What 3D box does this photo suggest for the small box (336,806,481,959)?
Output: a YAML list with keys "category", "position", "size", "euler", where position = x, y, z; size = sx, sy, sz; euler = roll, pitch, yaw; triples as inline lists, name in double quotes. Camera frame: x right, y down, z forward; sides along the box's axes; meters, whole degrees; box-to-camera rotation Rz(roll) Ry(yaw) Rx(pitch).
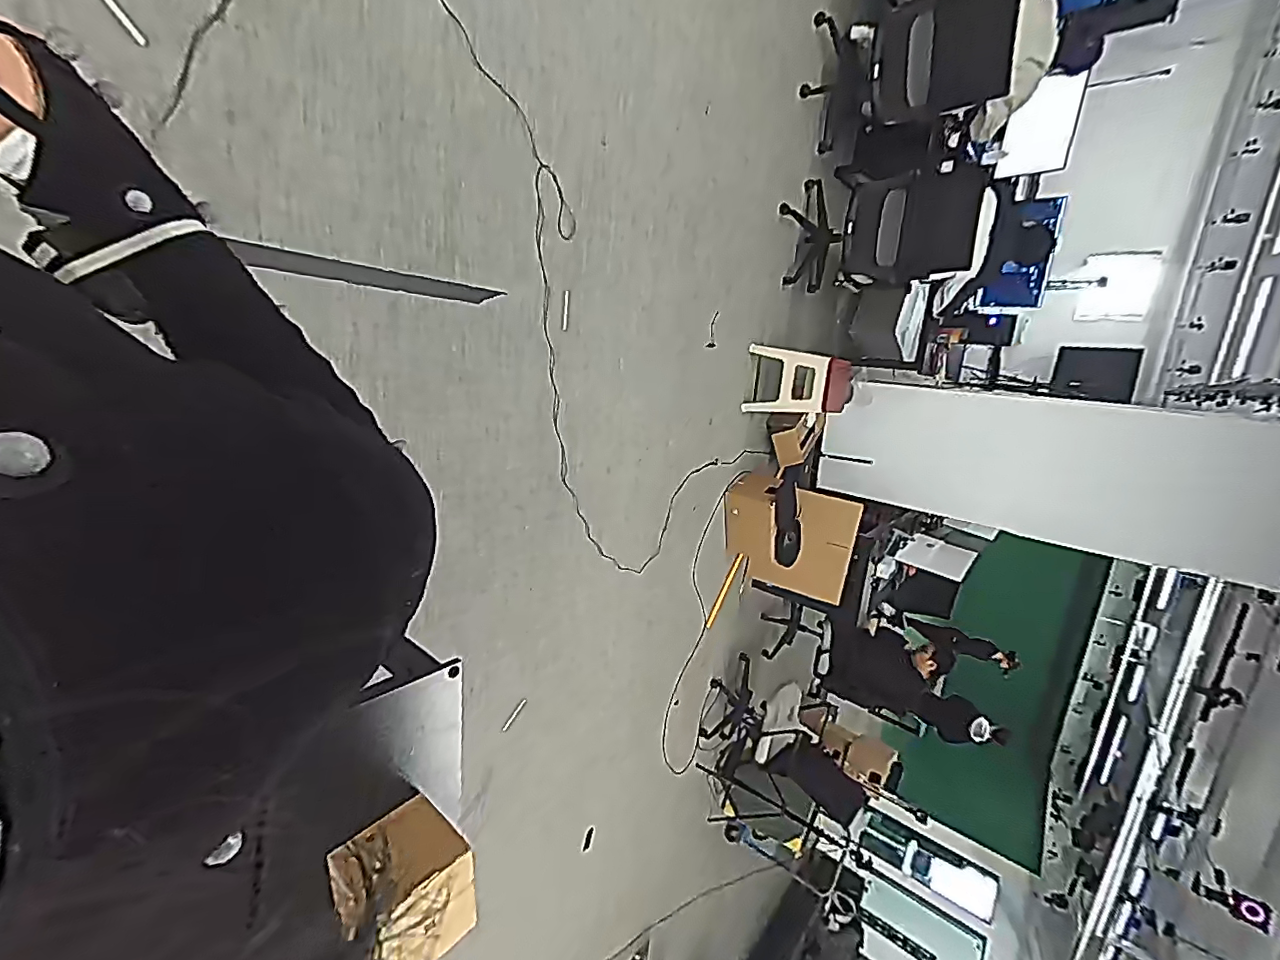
- category: "small box"
  position: [-0.390, 0.695, 0.913]
  size: [0.168, 0.176, 0.179]
  euler: [-17, 116, -47]
